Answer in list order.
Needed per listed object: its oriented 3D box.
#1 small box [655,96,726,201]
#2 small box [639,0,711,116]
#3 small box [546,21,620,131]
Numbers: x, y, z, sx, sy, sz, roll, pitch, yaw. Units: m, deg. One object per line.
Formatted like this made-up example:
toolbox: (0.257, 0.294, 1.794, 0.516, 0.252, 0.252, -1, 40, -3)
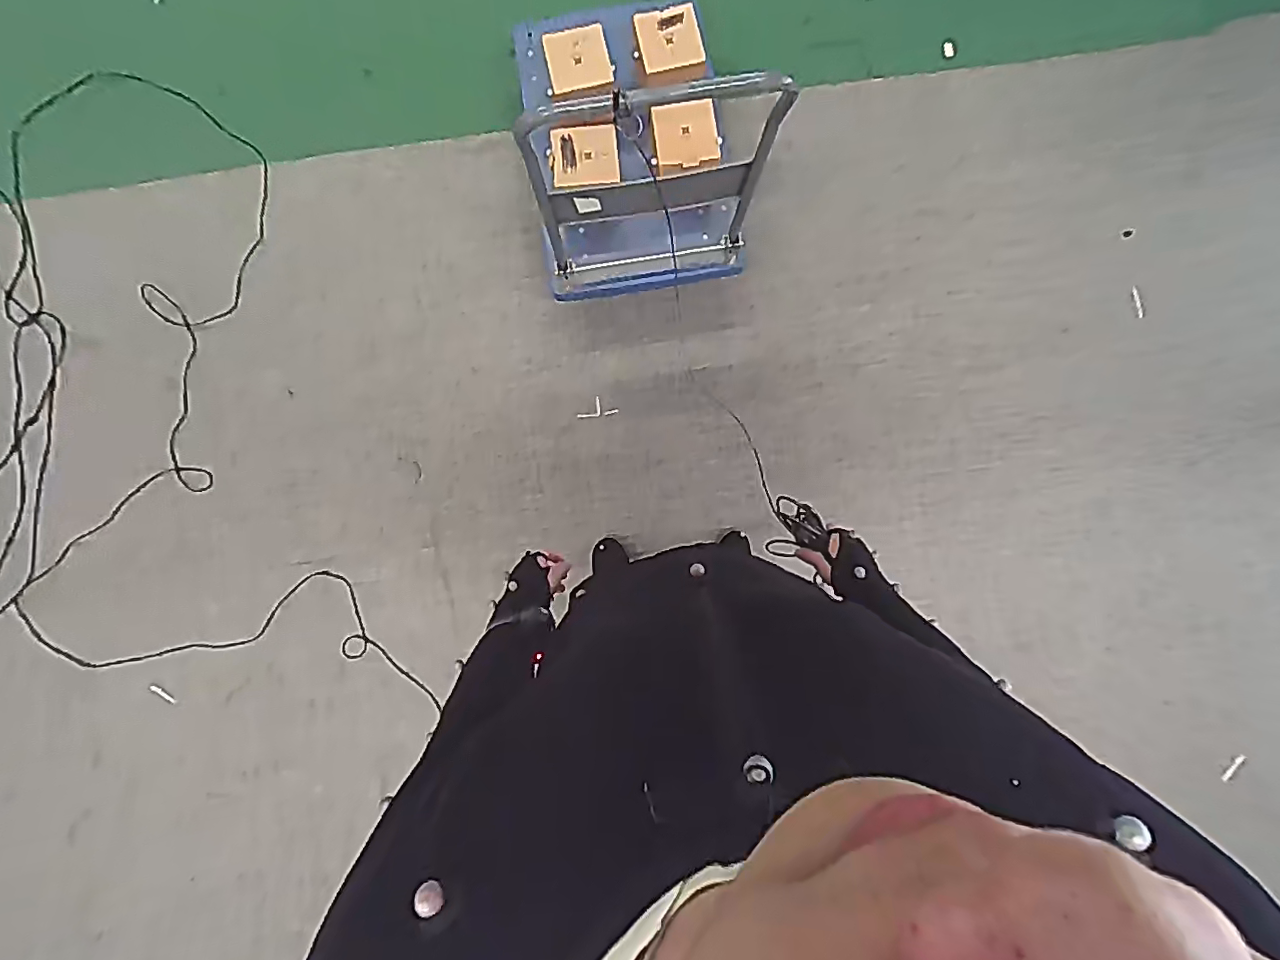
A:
small box: (0.133, -0.903, 1.484, 0.168, 0.176, 0.179, -8, 86, 0)
small box: (0.093, -1.169, 1.508, 0.168, 0.176, 0.179, -12, 86, 1)
small box: (-0.152, -1.113, 1.509, 0.168, 0.176, 0.179, -12, 85, -1)
